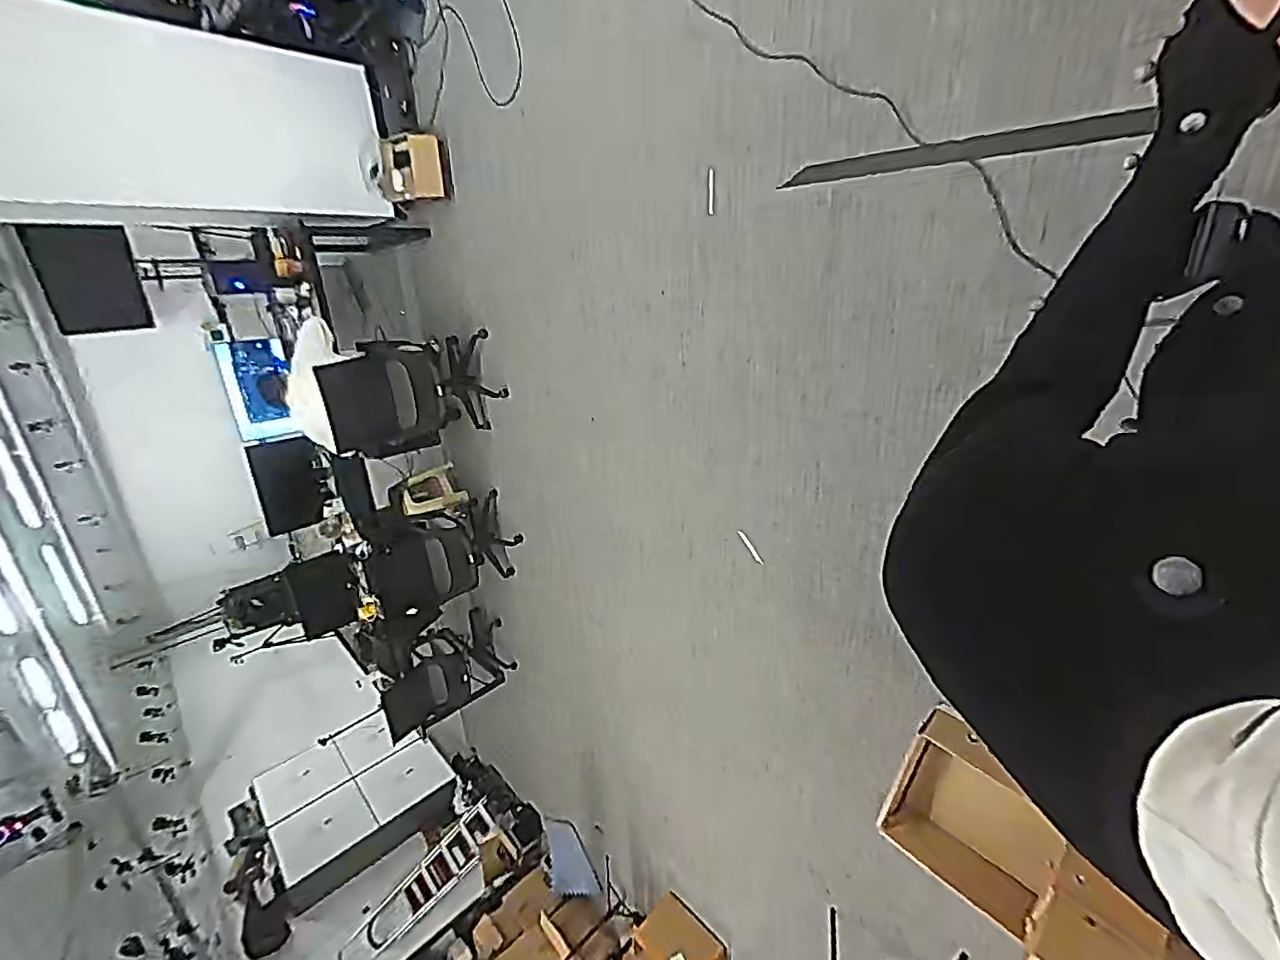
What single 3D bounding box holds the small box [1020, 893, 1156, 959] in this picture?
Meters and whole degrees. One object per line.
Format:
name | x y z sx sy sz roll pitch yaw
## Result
small box | 0.833 0.944 1.016 0.168 0.176 0.179 26 126 41
